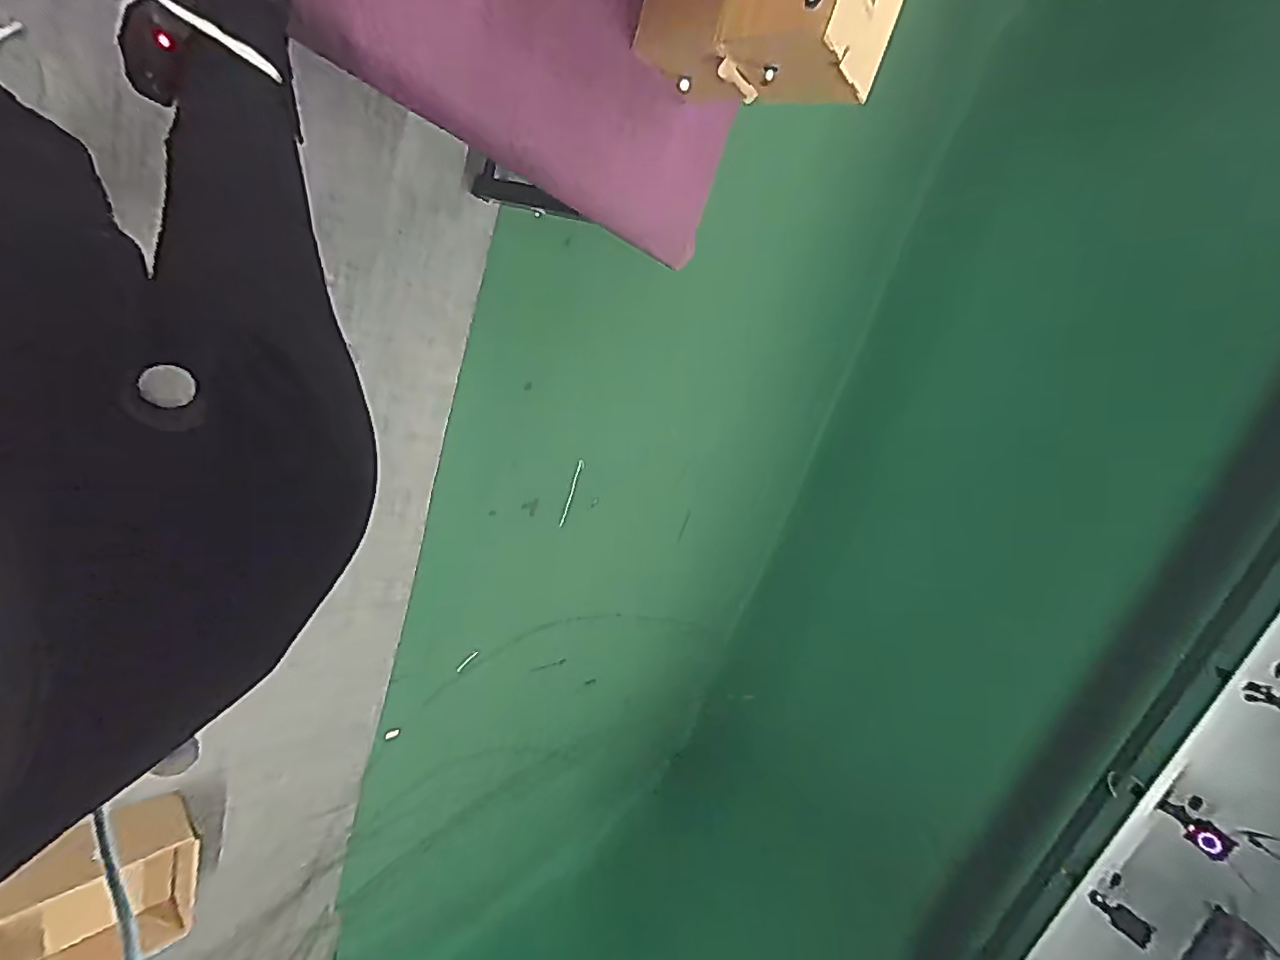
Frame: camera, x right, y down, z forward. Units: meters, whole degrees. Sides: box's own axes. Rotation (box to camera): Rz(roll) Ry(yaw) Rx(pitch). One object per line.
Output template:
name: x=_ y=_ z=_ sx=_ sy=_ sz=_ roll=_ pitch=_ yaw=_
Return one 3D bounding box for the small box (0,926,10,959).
small box: x=-1.577 y=1.192 z=1.247 sx=0.168 sy=0.176 sz=0.179 roll=-12 pitch=124 yaw=-51

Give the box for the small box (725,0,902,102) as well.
small box: x=0.241 y=-0.660 z=0.745 sx=0.168 sy=0.176 sz=0.179 roll=-4 pitch=118 yaw=-52

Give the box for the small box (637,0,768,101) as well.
small box: x=0.120 y=-0.722 z=0.834 sx=0.168 sy=0.176 sz=0.179 roll=-4 pitch=117 yaw=-51
